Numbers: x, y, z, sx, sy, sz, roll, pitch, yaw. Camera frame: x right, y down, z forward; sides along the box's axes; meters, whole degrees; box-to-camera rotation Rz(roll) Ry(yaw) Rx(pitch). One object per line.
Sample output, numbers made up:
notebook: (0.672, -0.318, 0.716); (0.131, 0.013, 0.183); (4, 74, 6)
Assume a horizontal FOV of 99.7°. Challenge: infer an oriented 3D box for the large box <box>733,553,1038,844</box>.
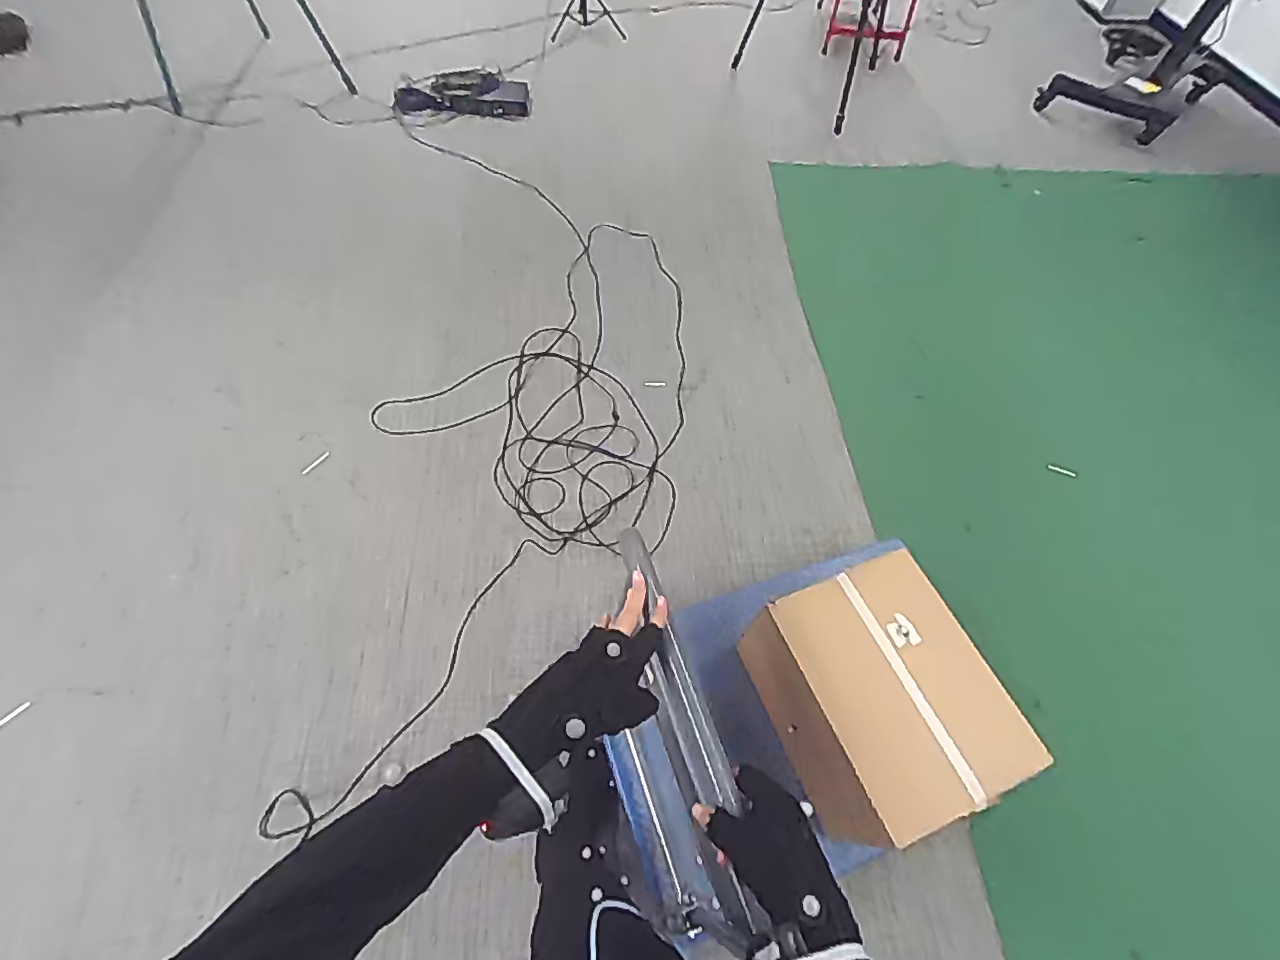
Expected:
large box: (0.430, 0.423, 1.061); (0.320, 0.320, 0.408); (-18, 61, -14)
